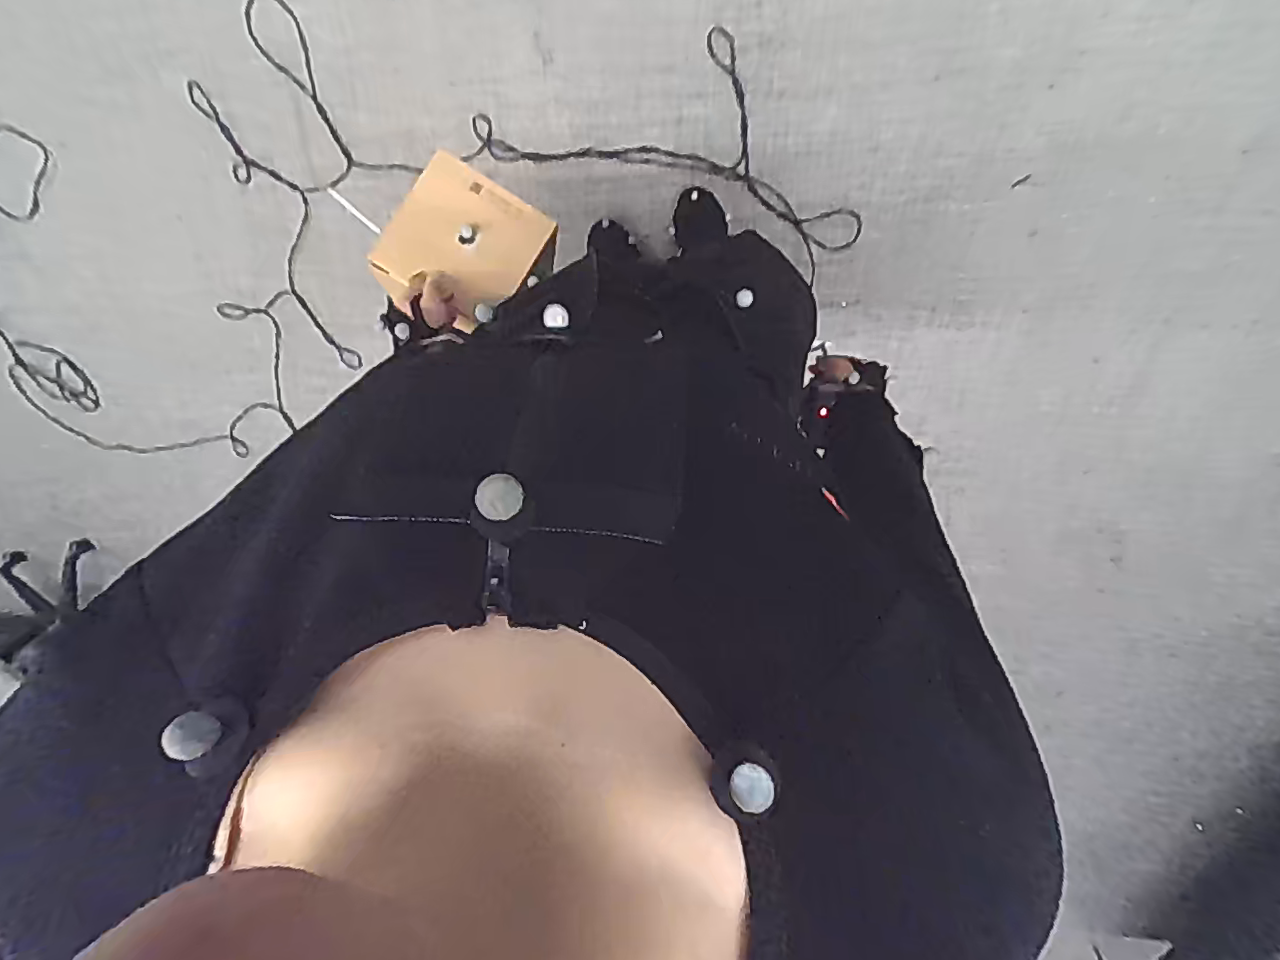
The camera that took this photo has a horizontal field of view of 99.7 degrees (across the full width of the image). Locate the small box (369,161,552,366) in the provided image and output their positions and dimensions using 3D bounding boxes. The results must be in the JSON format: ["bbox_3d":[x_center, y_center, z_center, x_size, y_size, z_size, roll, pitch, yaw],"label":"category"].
[{"bbox_3d":[-0.232,-0.287,0.742,0.168,0.179,0.176,29,83,-9],"label":"small box"}]
